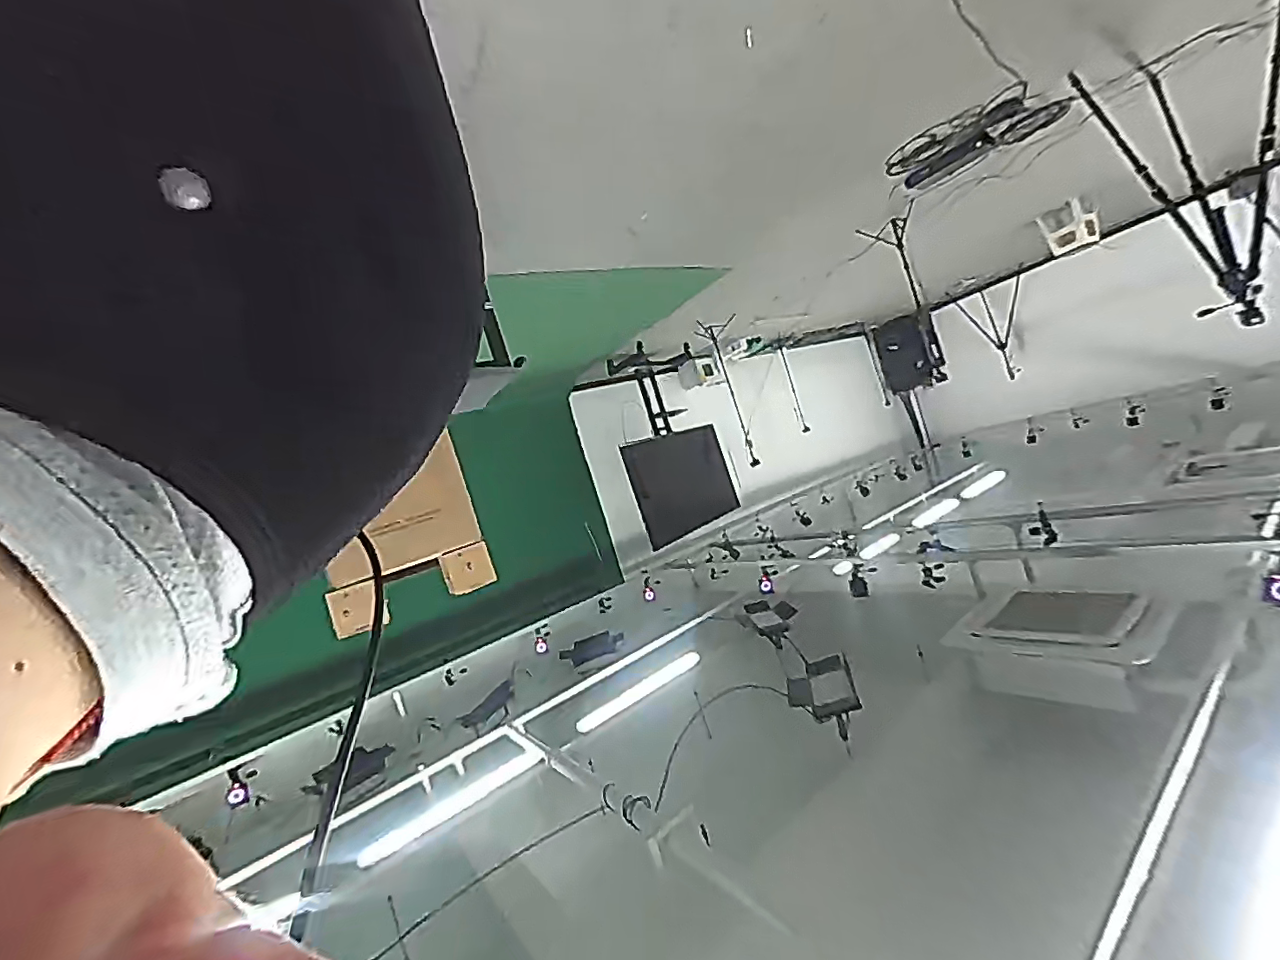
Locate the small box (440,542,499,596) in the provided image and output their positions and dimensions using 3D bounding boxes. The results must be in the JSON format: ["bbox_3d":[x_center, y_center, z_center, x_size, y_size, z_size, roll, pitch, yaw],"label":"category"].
[{"bbox_3d":[-0.689,0.353,2.169,0.168,0.176,0.179,-20,-179,-28],"label":"small box"}]

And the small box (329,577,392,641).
[{"bbox_3d":[-1.007,0.459,1.955,0.168,0.176,0.179,-16,-179,-24],"label":"small box"}]
